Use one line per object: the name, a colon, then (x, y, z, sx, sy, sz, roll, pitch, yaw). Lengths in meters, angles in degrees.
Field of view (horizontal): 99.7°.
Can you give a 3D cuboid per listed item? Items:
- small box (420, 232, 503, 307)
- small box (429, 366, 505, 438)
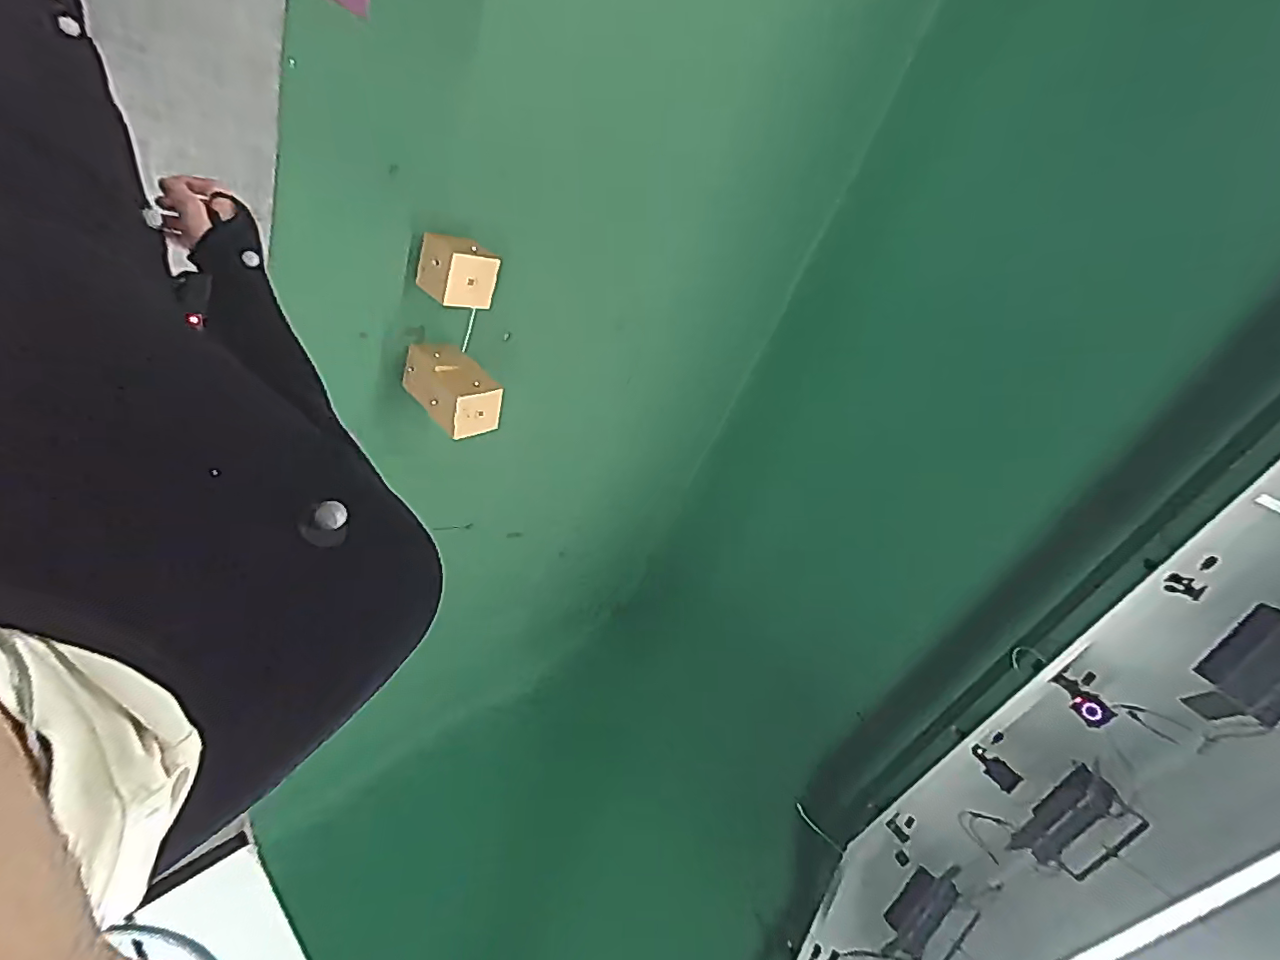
small box: (-0.569, -0.665, 1.712, 0.179, 0.176, 0.168, -17, 139, -50)
small box: (-0.586, -0.271, 1.829, 0.179, 0.176, 0.168, -23, 143, -43)
